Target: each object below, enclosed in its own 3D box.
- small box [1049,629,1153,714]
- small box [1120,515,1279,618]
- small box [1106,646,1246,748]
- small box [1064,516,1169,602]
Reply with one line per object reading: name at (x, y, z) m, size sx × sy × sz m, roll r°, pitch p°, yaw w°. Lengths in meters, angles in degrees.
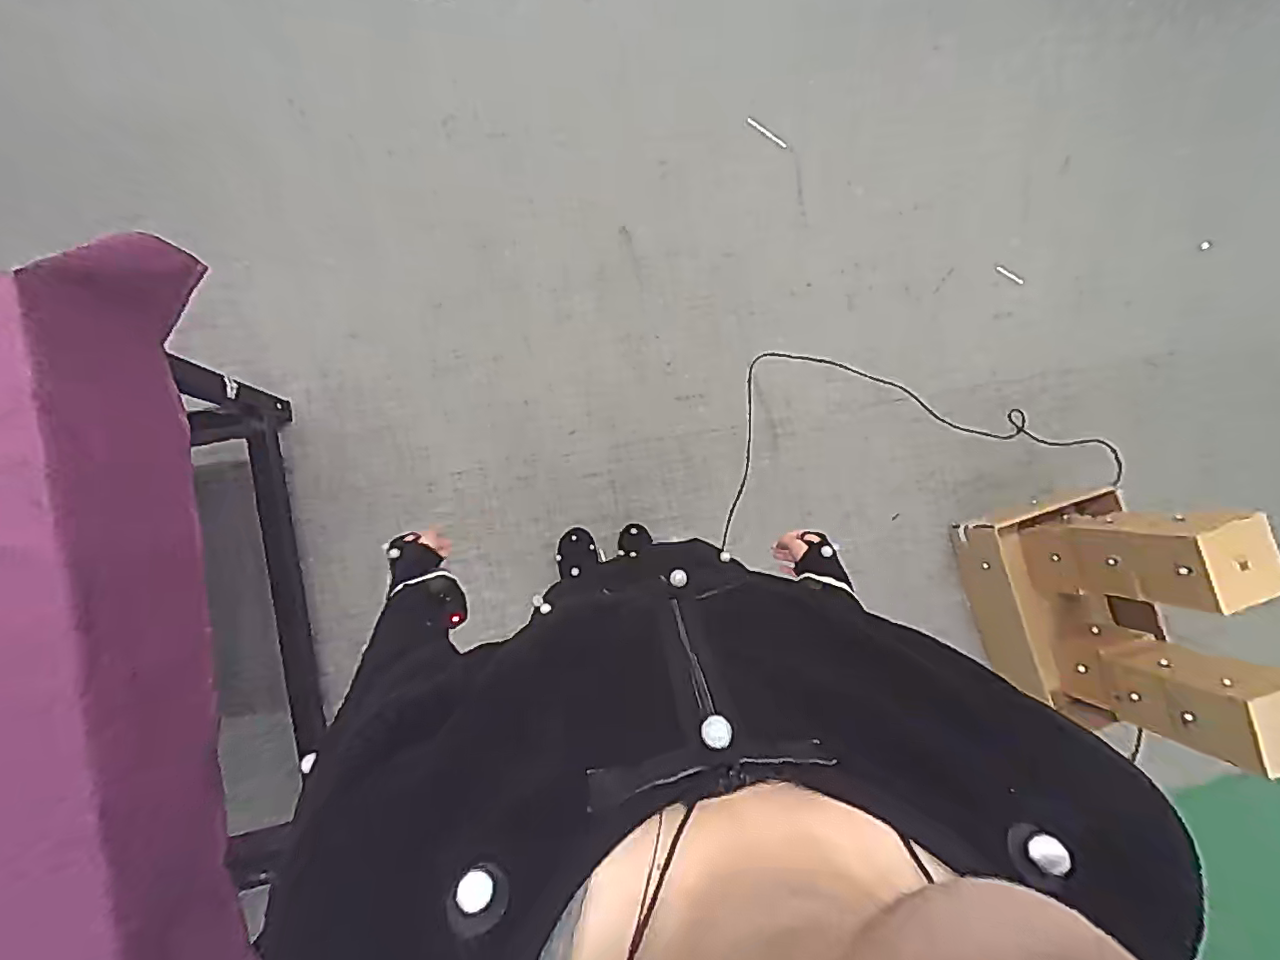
small box at (1.291, 0.525, 1.503) m, size 0.168 × 0.176 × 0.179 m, roll -13°, pitch 87°, yaw -6°
small box at (1.229, 0.182, 1.193) m, size 0.168 × 0.176 × 0.179 m, roll -18°, pitch 87°, yaw -5°
small box at (1.309, 0.528, 1.338) m, size 0.179 × 0.176 × 0.168 m, roll -13°, pitch 88°, yaw -7°
small box at (1.215, 0.192, 1.355) m, size 0.168 × 0.176 × 0.179 m, roll -13°, pitch 88°, yaw -5°
